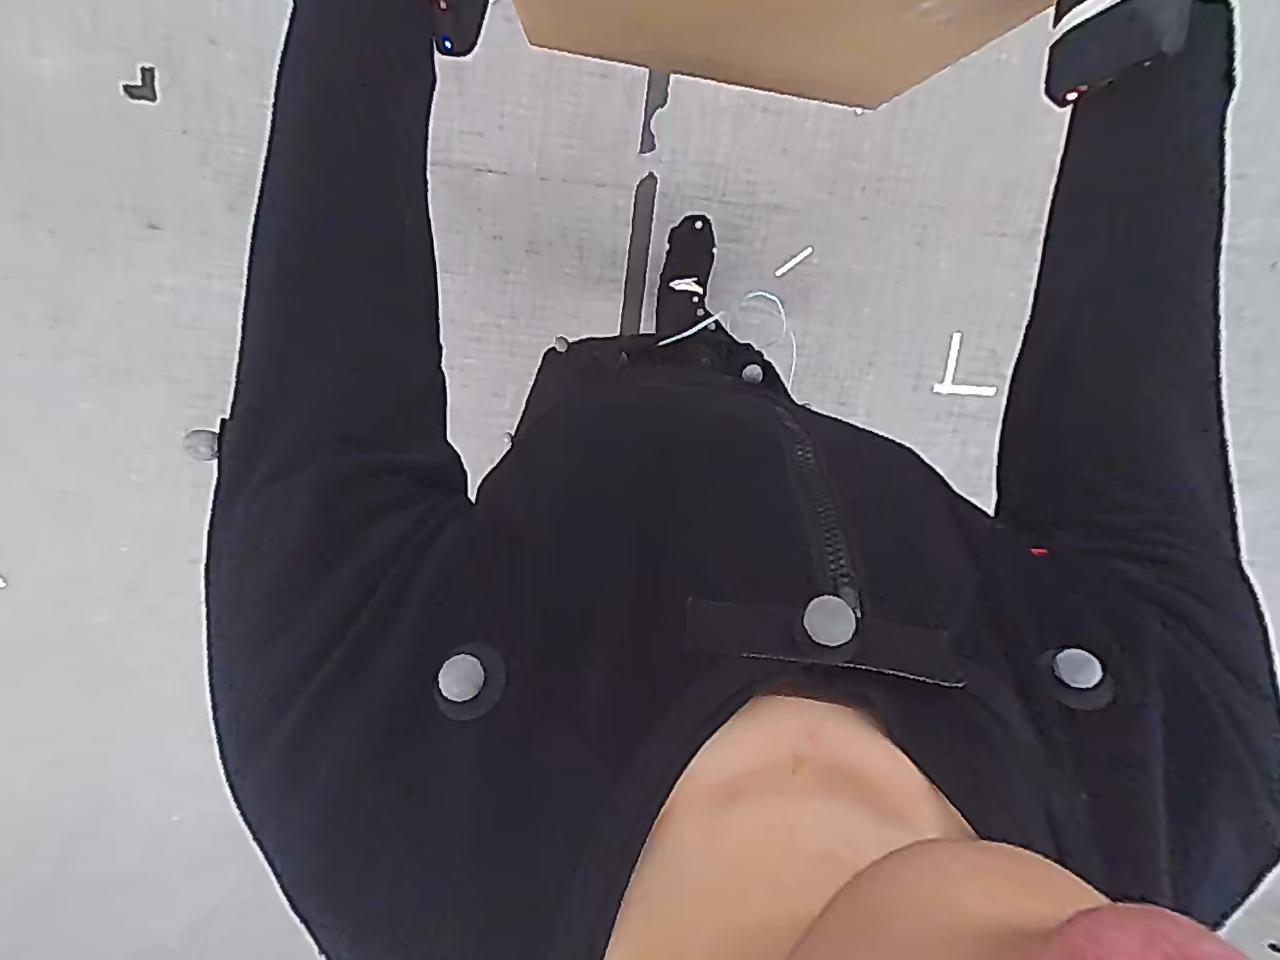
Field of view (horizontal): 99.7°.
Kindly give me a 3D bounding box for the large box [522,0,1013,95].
[{"bbox_3d":[0.102,-0.554,0.425,0.408,0.320,0.320,6,112,-6],"label":"large box"}]
